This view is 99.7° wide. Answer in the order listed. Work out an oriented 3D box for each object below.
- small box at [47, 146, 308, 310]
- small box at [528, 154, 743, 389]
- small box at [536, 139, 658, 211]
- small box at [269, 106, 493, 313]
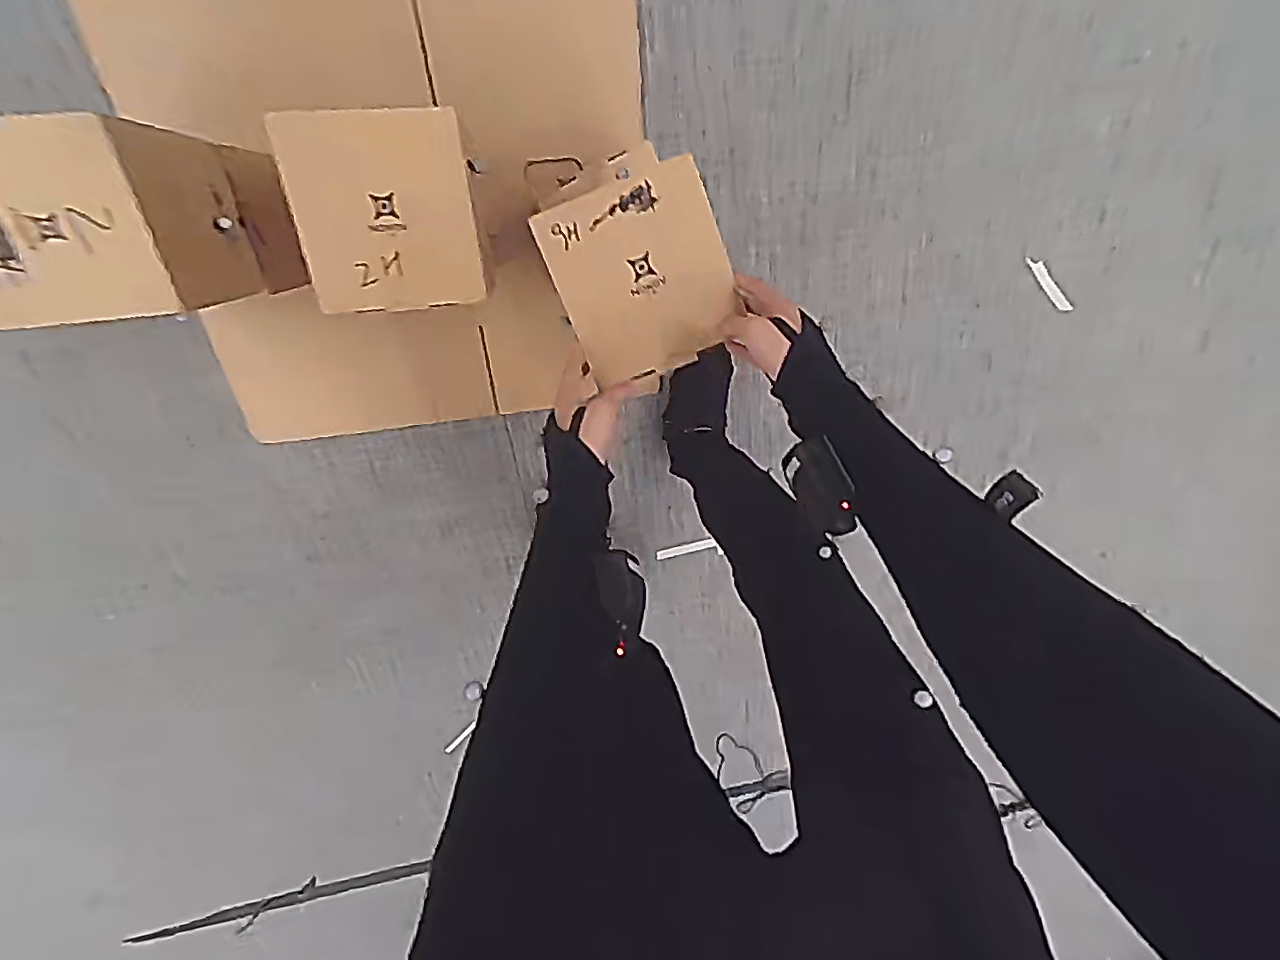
[{"bbox_3d":[-0.560,-0.324,0.696,0.179,0.176,0.168,-8,117,-6],"label":"small box"},{"bbox_3d":[-0.006,-0.218,0.600,0.168,0.176,0.179,-22,105,0],"label":"small box"},{"bbox_3d":[-0.040,-0.358,0.788,0.168,0.176,0.179,-26,117,3],"label":"small box"},{"bbox_3d":[-0.259,-0.289,0.591,0.168,0.176,0.179,-7,117,-9],"label":"small box"}]
